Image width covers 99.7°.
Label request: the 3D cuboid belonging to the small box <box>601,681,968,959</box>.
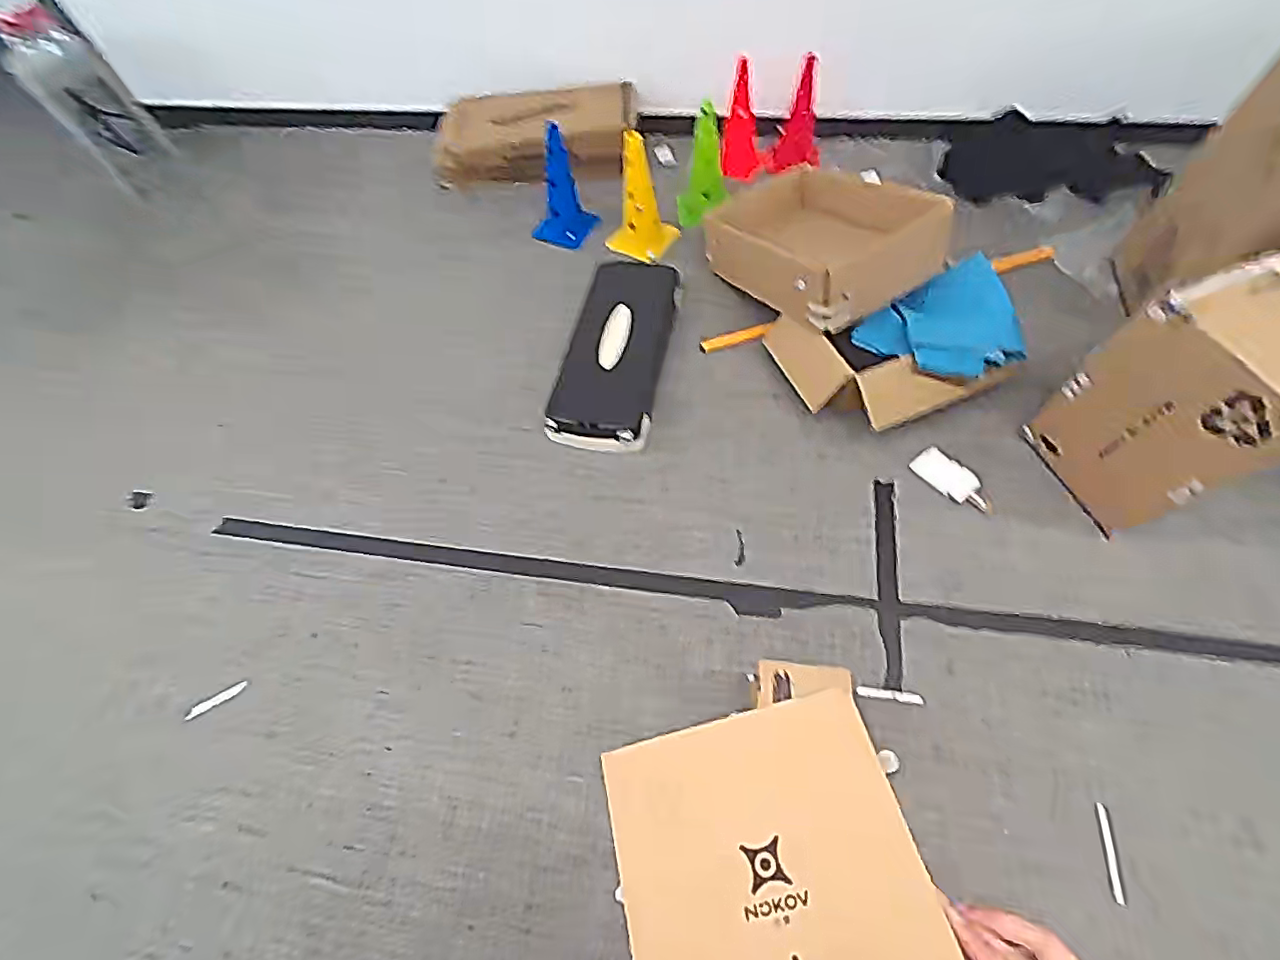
[{"bbox_3d":[0.087,0.258,0.353,0.168,0.176,0.179,-19,54,4],"label":"small box"}]
